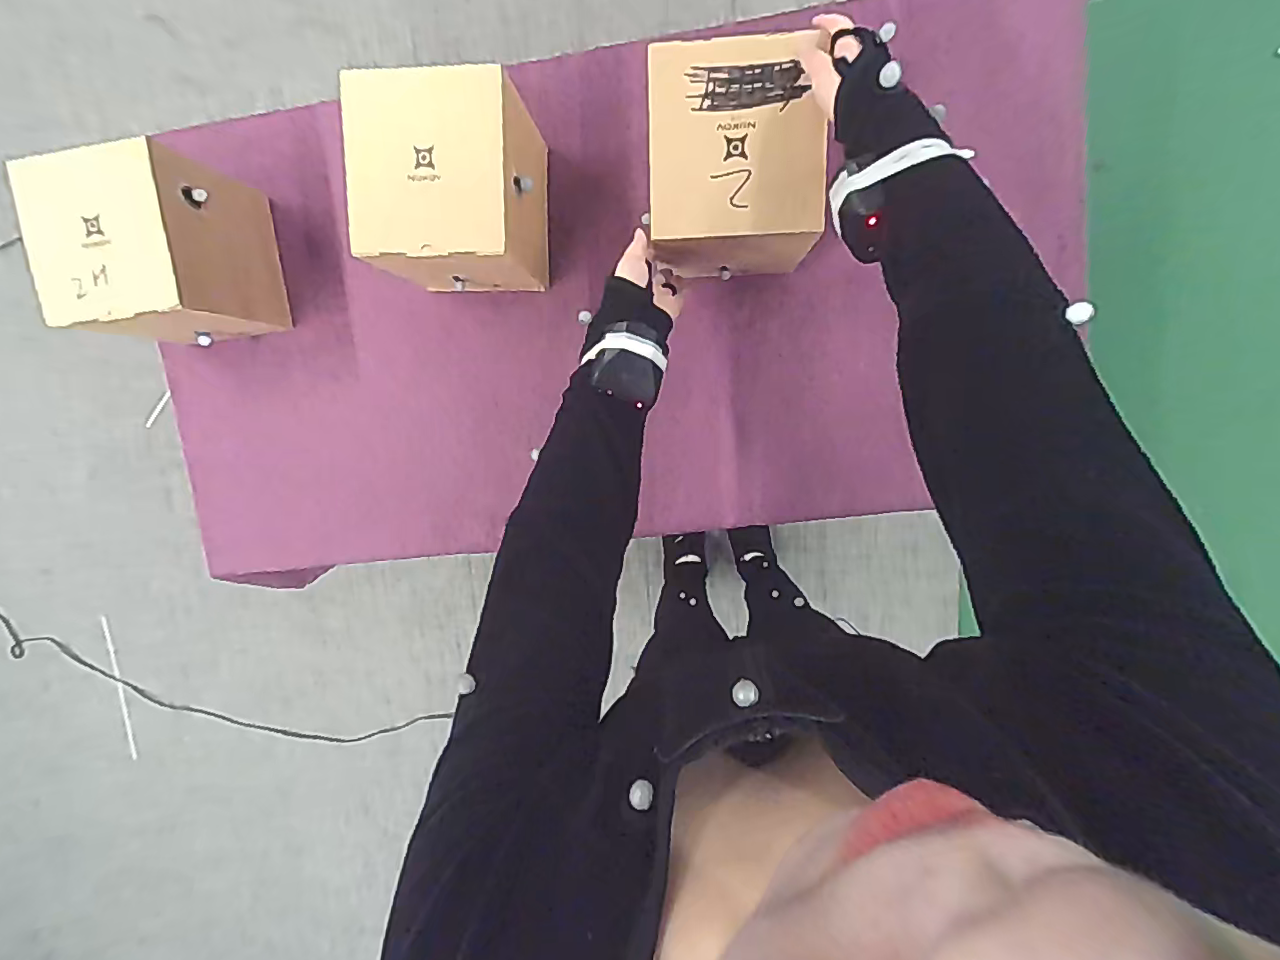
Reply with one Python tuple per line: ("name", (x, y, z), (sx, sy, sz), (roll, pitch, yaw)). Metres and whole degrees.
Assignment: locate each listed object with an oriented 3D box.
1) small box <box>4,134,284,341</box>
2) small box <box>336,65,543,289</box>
("small box", (-0.574, -0.274, 0.651), (0.168, 0.176, 0.179), (-6, 97, 6))
("small box", (-0.212, -0.327, 0.615), (0.168, 0.176, 0.179), (2, 99, 5))
